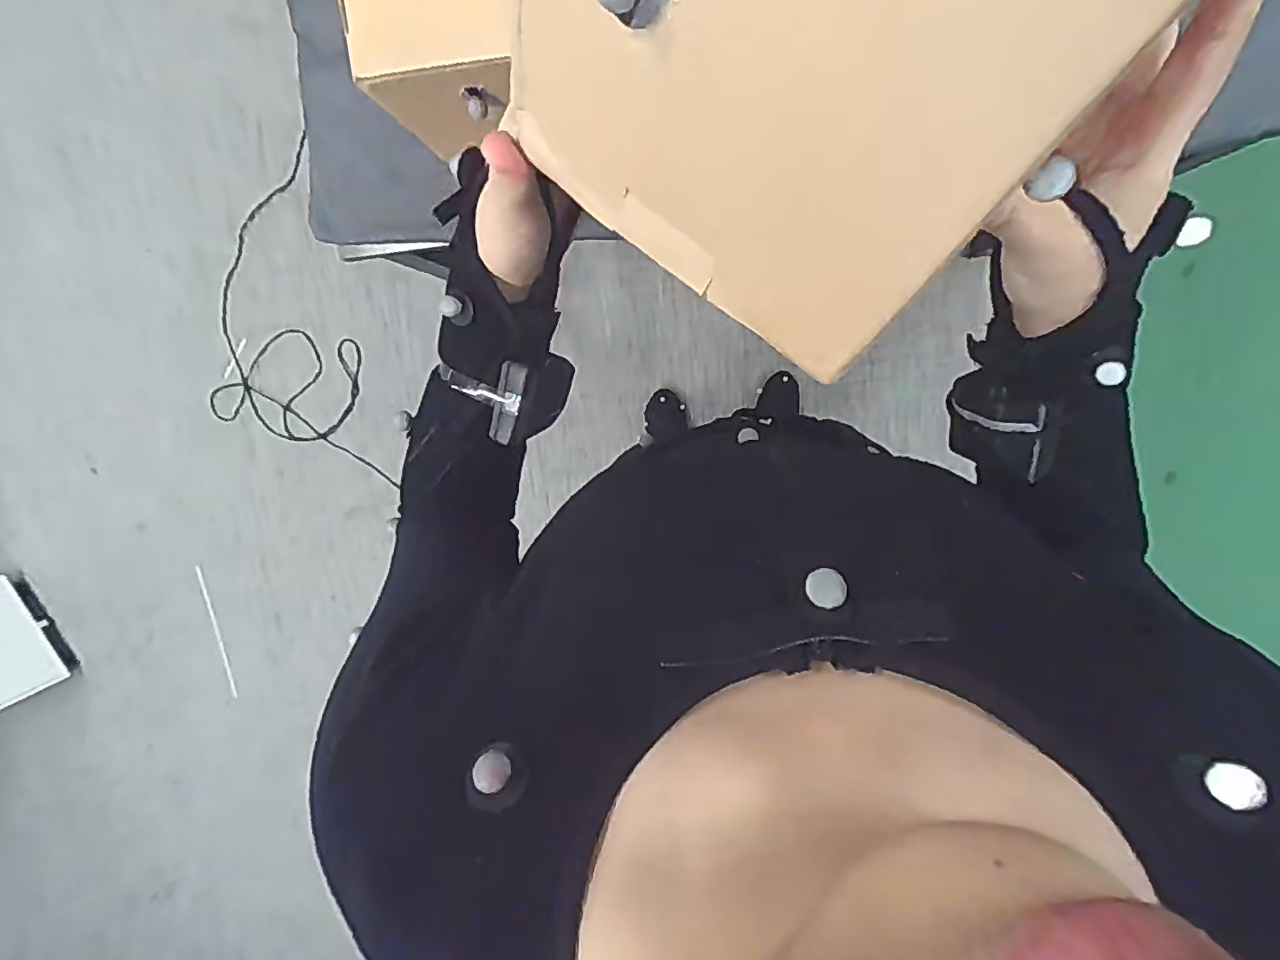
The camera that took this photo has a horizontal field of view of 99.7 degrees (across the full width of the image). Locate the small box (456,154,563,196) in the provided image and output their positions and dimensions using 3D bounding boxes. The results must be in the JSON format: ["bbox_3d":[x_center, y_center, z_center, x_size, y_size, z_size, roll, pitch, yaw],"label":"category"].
[{"bbox_3d":[-0.107,-0.436,0.606,0.179,0.176,0.168,-1,101,7],"label":"small box"}]

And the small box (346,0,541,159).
[{"bbox_3d":[-0.119,-0.392,0.449,0.179,0.176,0.168,-2,101,8],"label":"small box"}]

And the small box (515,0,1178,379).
[{"bbox_3d":[0.077,-0.177,0.185,0.168,0.176,0.179,39,61,5],"label":"small box"}]
